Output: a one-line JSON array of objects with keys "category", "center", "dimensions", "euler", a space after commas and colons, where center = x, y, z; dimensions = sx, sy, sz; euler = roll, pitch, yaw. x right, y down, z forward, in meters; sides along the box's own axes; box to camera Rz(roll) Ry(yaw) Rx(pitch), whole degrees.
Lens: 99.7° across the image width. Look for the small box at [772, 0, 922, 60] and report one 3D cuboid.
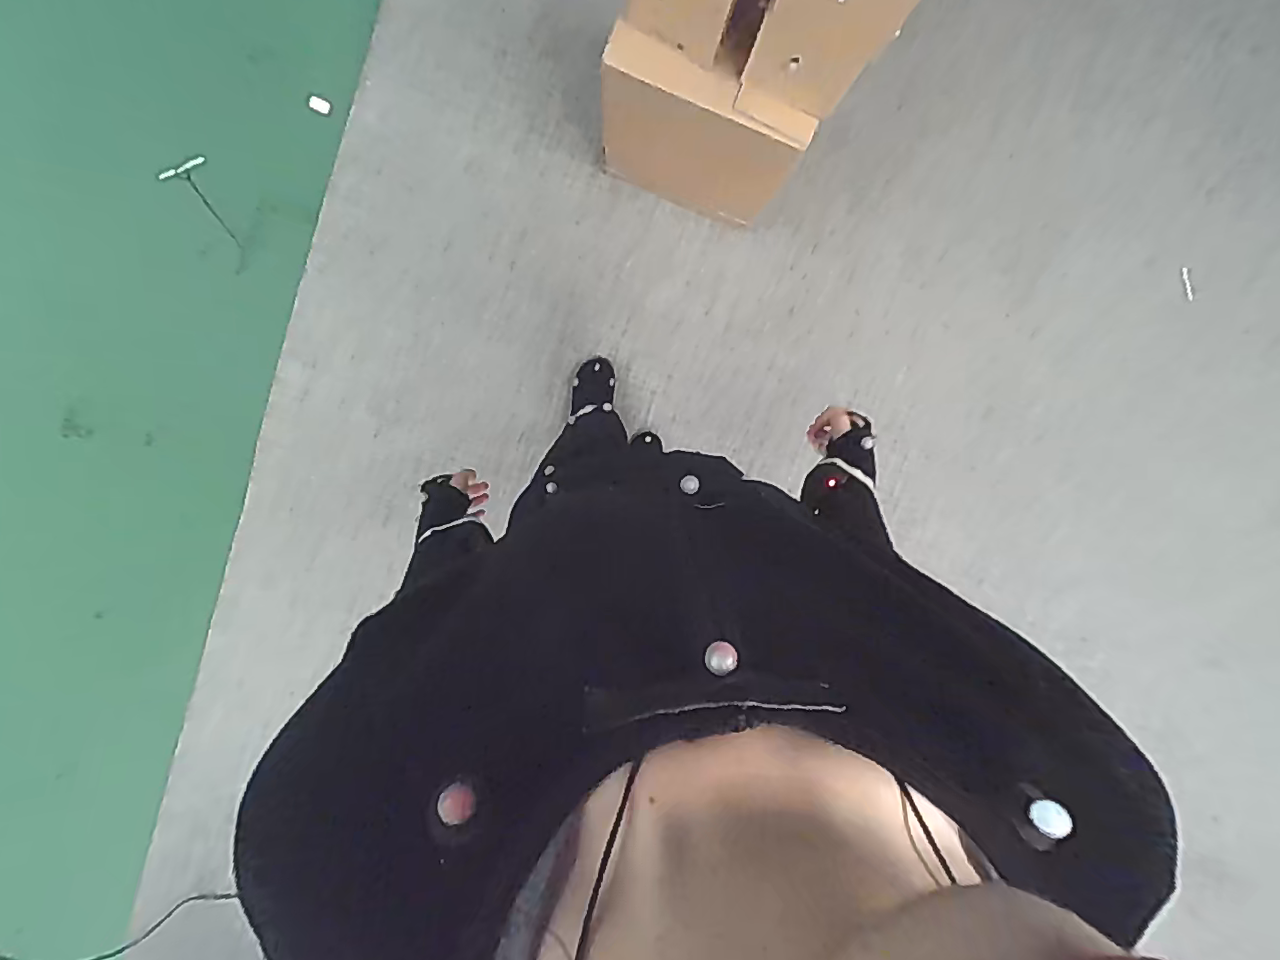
[{"category": "small box", "center": [0.306, -0.723, 0.731], "dimensions": [0.179, 0.176, 0.168], "euler": [20, 95, -4]}]
